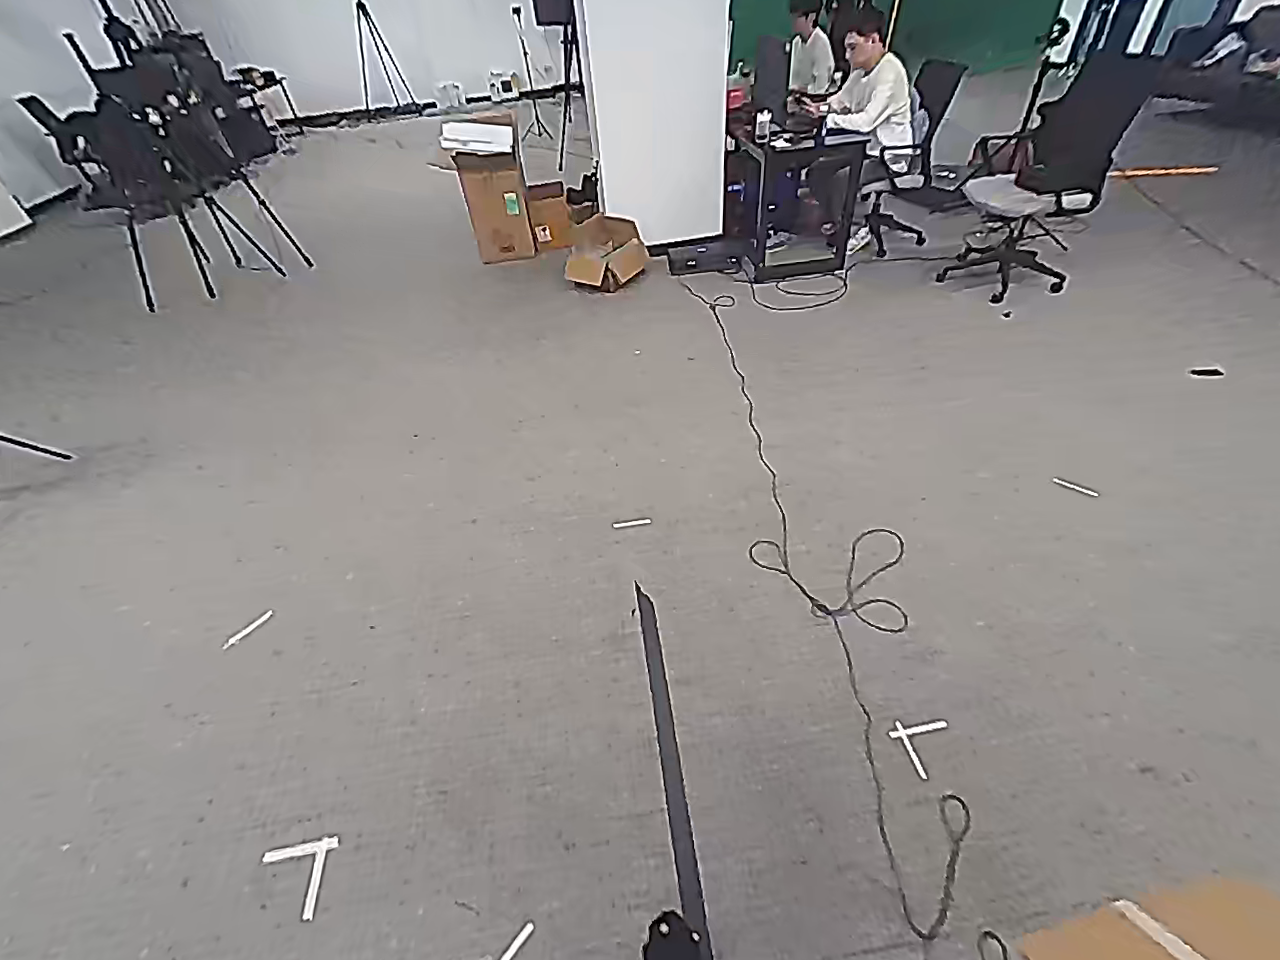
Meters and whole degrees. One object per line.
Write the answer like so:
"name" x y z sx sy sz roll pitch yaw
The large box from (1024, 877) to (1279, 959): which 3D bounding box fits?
"large box" 0.698 0.696 0.524 0.320 0.408 0.320 -21 79 4
